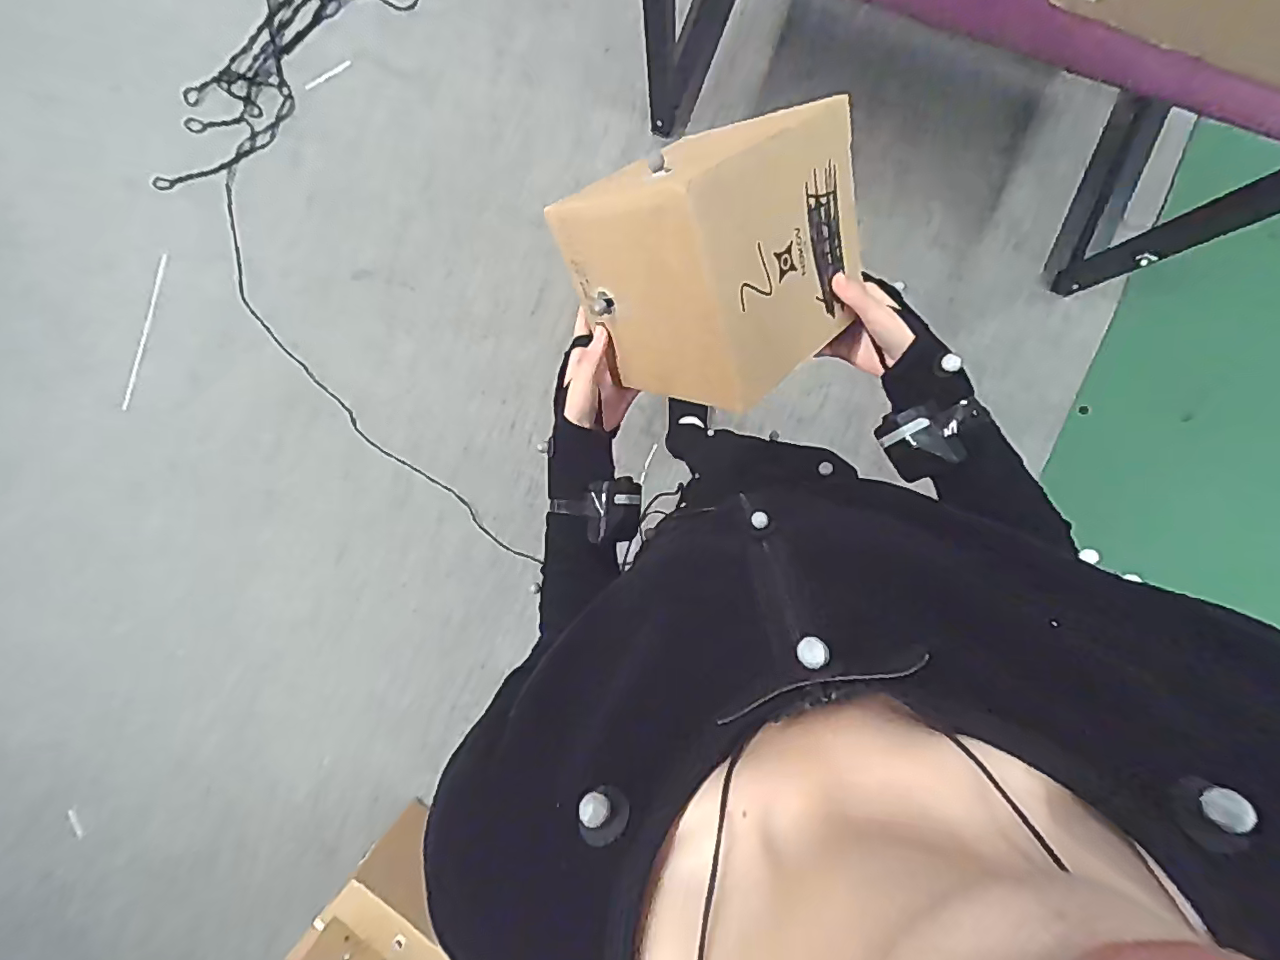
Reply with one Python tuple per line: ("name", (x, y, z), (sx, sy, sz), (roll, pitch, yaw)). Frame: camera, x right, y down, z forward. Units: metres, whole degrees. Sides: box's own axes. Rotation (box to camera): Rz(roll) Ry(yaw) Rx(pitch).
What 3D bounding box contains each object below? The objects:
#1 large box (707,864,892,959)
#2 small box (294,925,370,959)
("large box", (0.397, 1.276, 1.405), (0.408, 0.320, 0.320), (7, 94, 2))
("small box", (-0.754, 1.188, 1.231), (0.168, 0.176, 0.179), (40, 96, 1))
